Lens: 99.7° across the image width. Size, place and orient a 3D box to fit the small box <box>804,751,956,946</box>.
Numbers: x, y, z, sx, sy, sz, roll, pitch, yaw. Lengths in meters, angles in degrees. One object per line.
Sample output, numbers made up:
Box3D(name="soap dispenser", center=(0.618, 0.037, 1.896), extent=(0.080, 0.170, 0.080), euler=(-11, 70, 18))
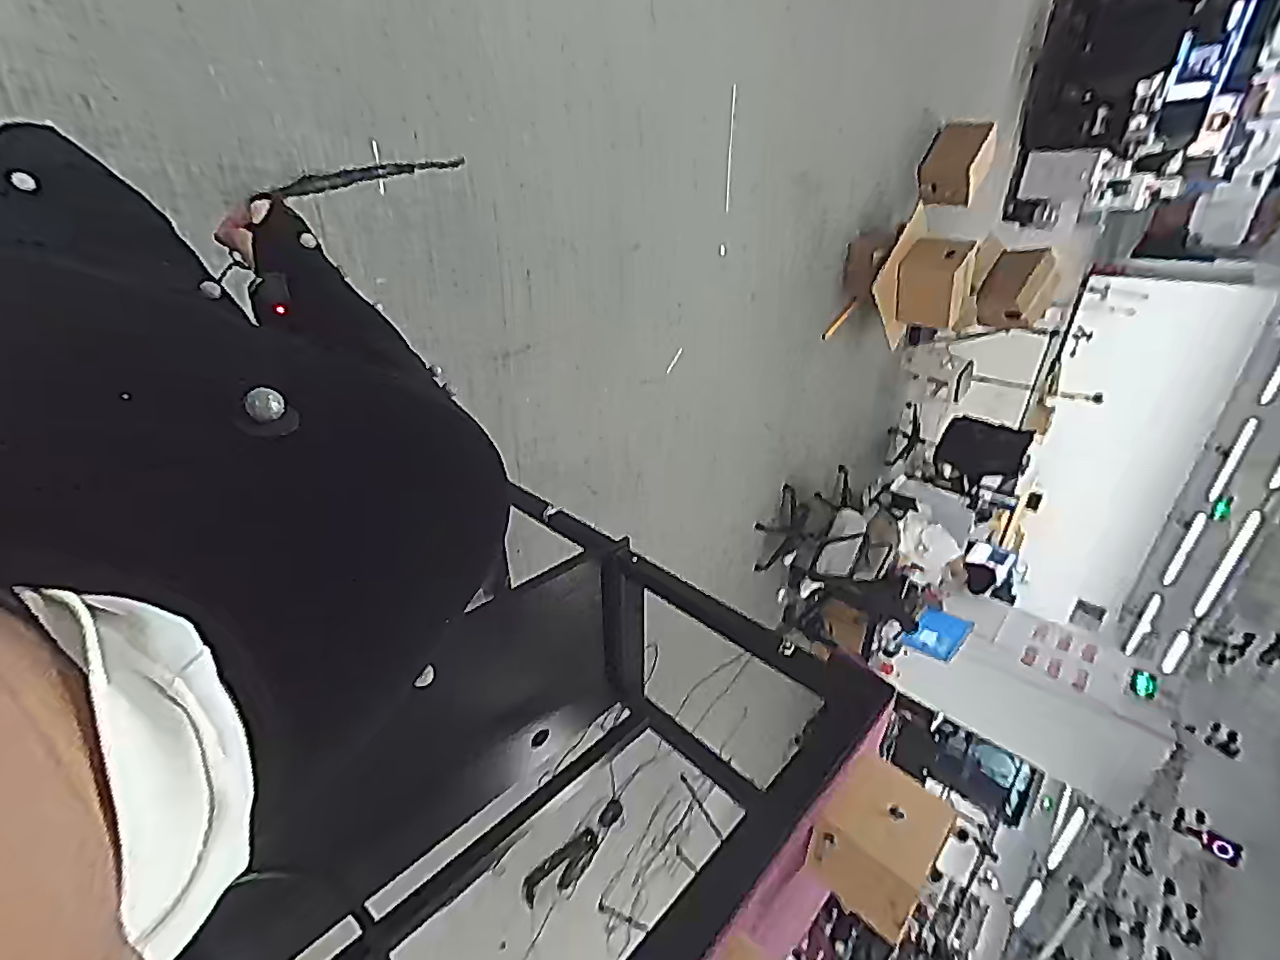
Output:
Box3D(name="small box", center=(0.402, 0.616, 0.925), extent=(0.179, 0.176, 0.168), euler=(-26, 128, -38))
